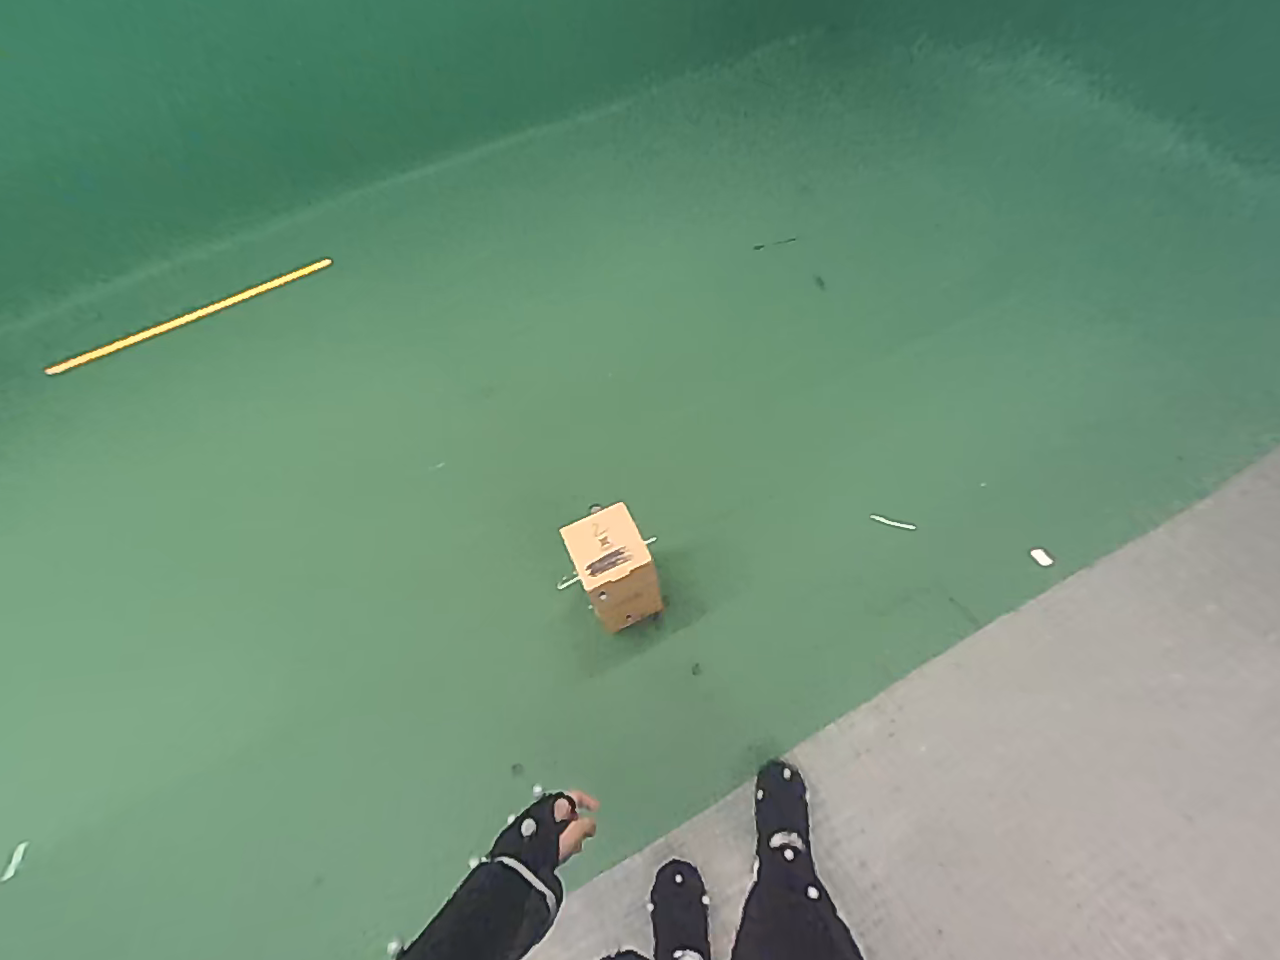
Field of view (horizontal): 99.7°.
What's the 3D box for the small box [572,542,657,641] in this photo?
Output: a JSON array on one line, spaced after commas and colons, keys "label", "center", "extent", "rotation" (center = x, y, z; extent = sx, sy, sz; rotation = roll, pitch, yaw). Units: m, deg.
[{"label": "small box", "center": [-0.064, 0.300, 1.443], "extent": [0.168, 0.176, 0.179], "rotation": [-24, 59, -9]}]
